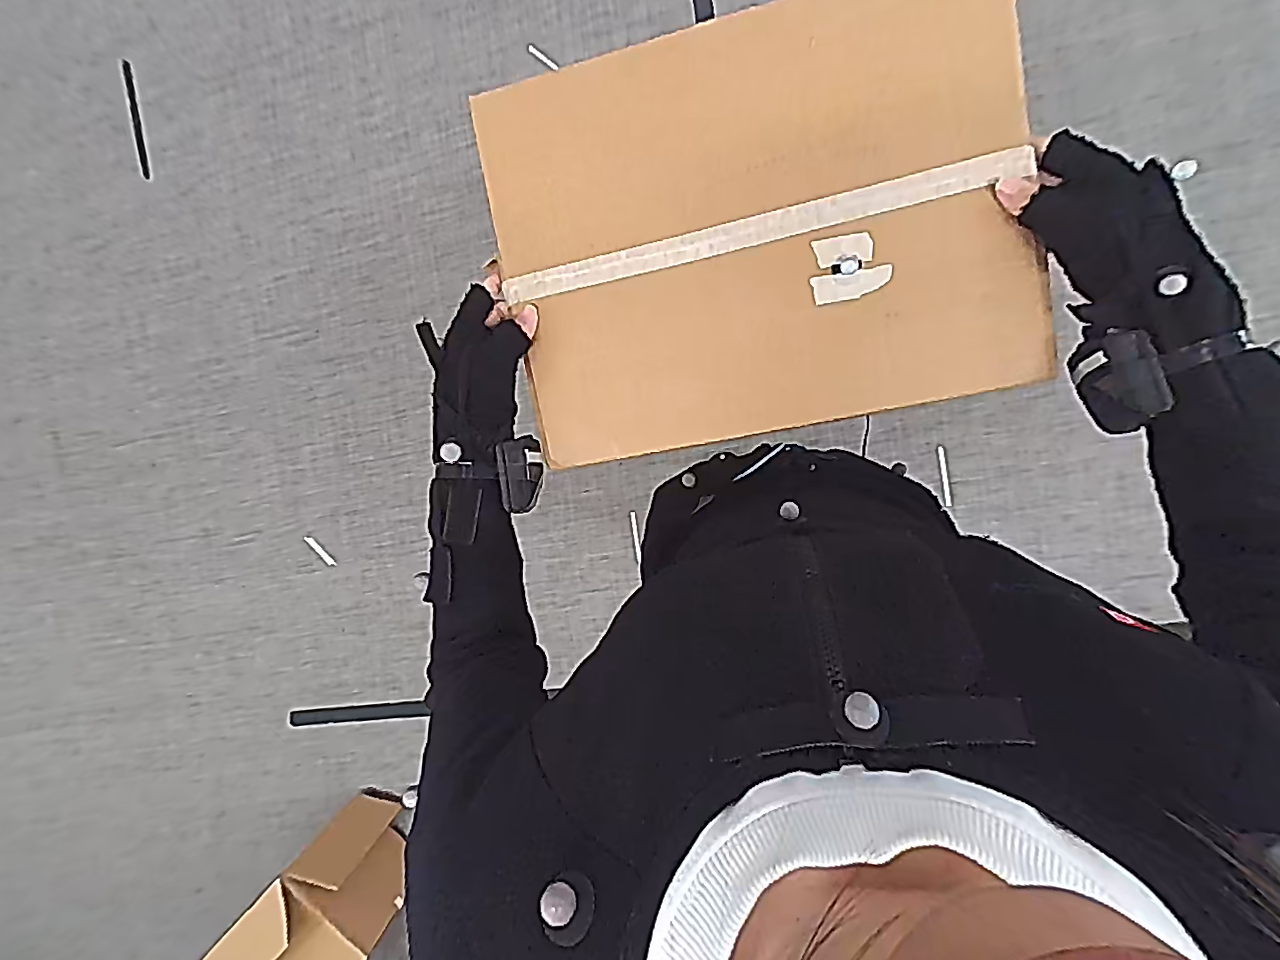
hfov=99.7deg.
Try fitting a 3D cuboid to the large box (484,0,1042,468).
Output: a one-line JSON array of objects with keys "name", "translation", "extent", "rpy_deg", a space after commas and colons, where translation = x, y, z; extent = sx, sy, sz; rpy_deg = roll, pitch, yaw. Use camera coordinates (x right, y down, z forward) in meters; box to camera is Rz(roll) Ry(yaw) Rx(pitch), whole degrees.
[{"name": "large box", "translation": [0.108, -0.214, 0.582], "extent": [0.408, 0.320, 0.320], "rpy_deg": [-11, 96, 9]}]
